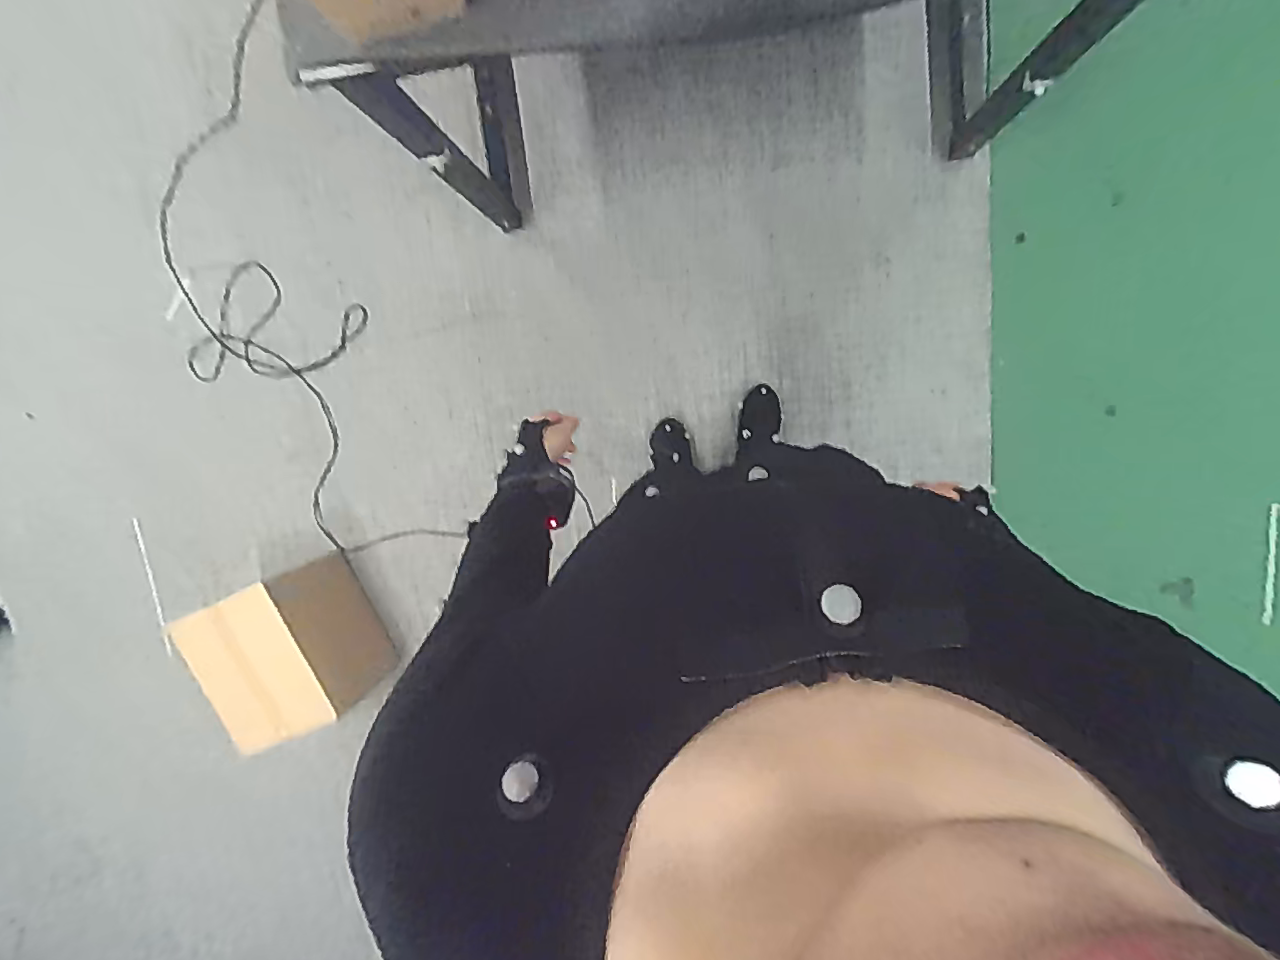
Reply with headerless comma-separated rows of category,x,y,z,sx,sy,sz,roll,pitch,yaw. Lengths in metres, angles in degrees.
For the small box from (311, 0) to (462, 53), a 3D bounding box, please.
small box,-0.331,-0.657,0.627,0.168,0.176,0.179,-11,97,7
